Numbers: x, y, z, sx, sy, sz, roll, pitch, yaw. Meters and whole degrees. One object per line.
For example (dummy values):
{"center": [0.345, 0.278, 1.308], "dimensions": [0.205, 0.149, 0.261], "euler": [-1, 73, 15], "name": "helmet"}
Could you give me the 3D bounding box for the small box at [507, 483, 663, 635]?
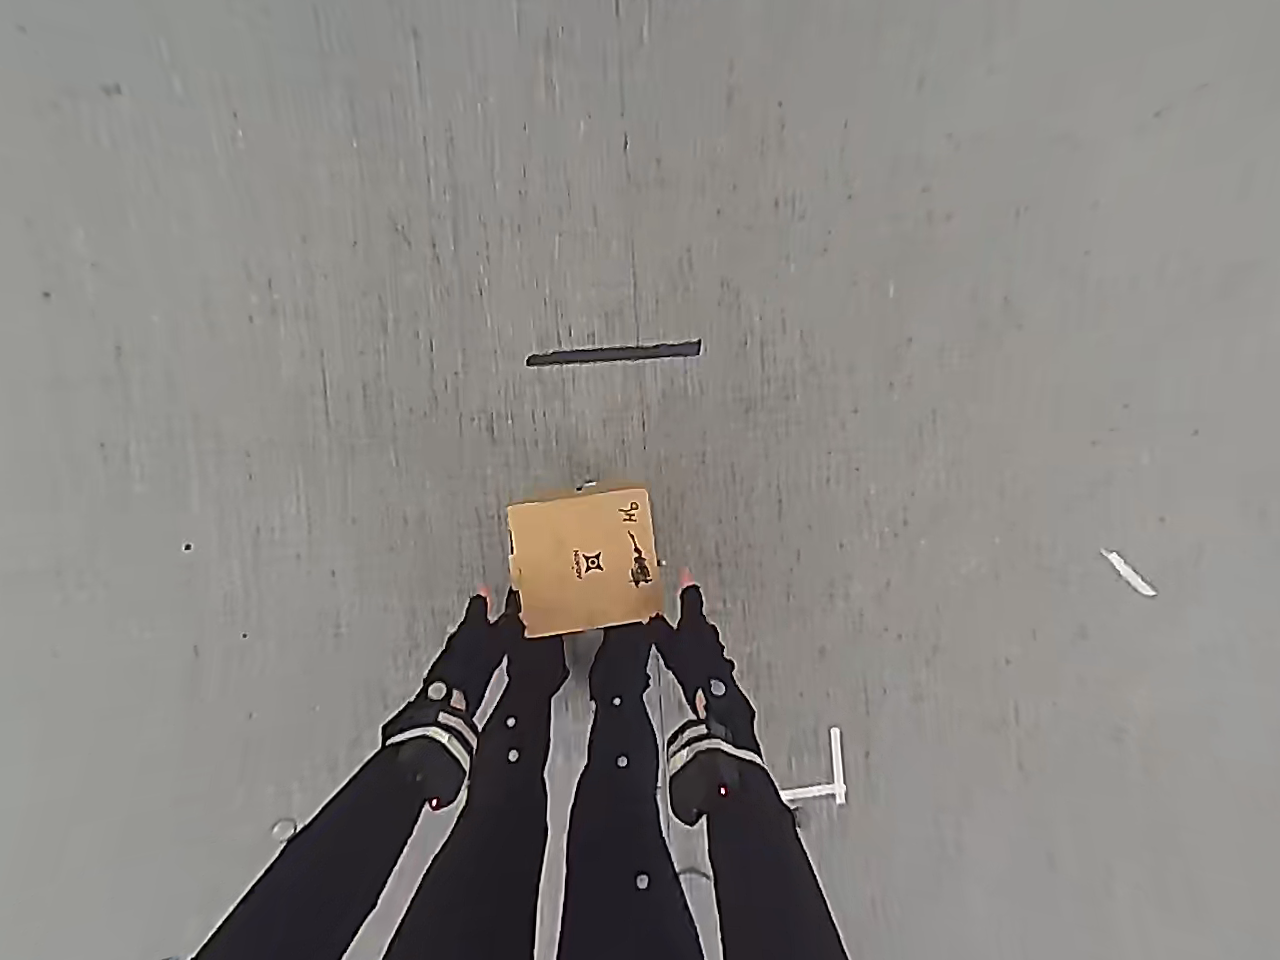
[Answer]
{"center": [-0.069, 0.096, 0.733], "dimensions": [0.179, 0.176, 0.168], "euler": [-7, 93, -4], "name": "small box"}
